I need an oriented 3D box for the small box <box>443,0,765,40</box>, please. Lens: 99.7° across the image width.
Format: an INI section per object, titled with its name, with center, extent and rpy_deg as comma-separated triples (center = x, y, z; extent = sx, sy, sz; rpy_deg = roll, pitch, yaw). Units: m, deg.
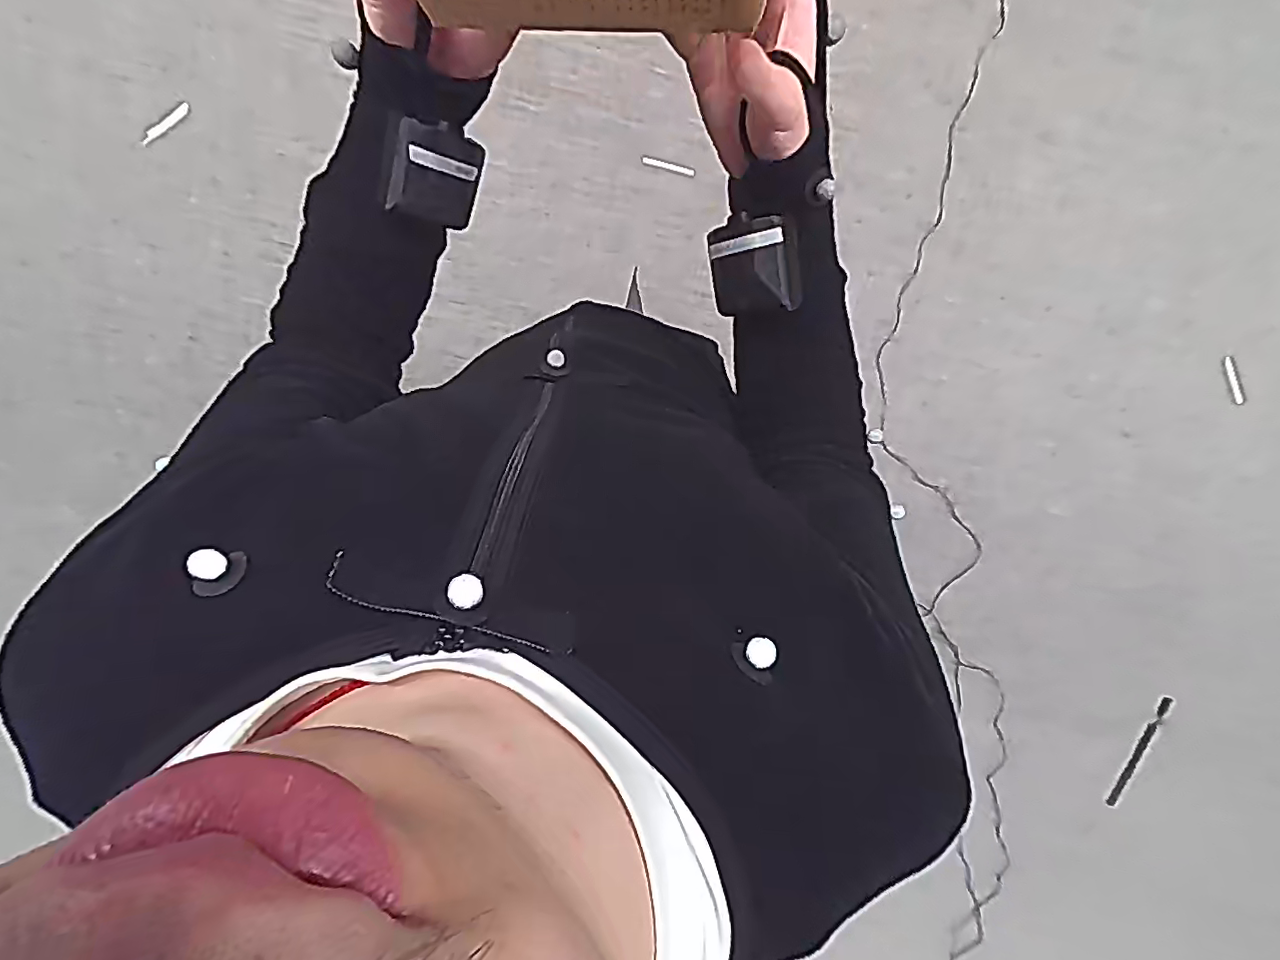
[small box]
center = -0.021, -0.311, 0.206
extent = 0.179, 0.176, 0.168
rpy_deg = 4, 98, 2
